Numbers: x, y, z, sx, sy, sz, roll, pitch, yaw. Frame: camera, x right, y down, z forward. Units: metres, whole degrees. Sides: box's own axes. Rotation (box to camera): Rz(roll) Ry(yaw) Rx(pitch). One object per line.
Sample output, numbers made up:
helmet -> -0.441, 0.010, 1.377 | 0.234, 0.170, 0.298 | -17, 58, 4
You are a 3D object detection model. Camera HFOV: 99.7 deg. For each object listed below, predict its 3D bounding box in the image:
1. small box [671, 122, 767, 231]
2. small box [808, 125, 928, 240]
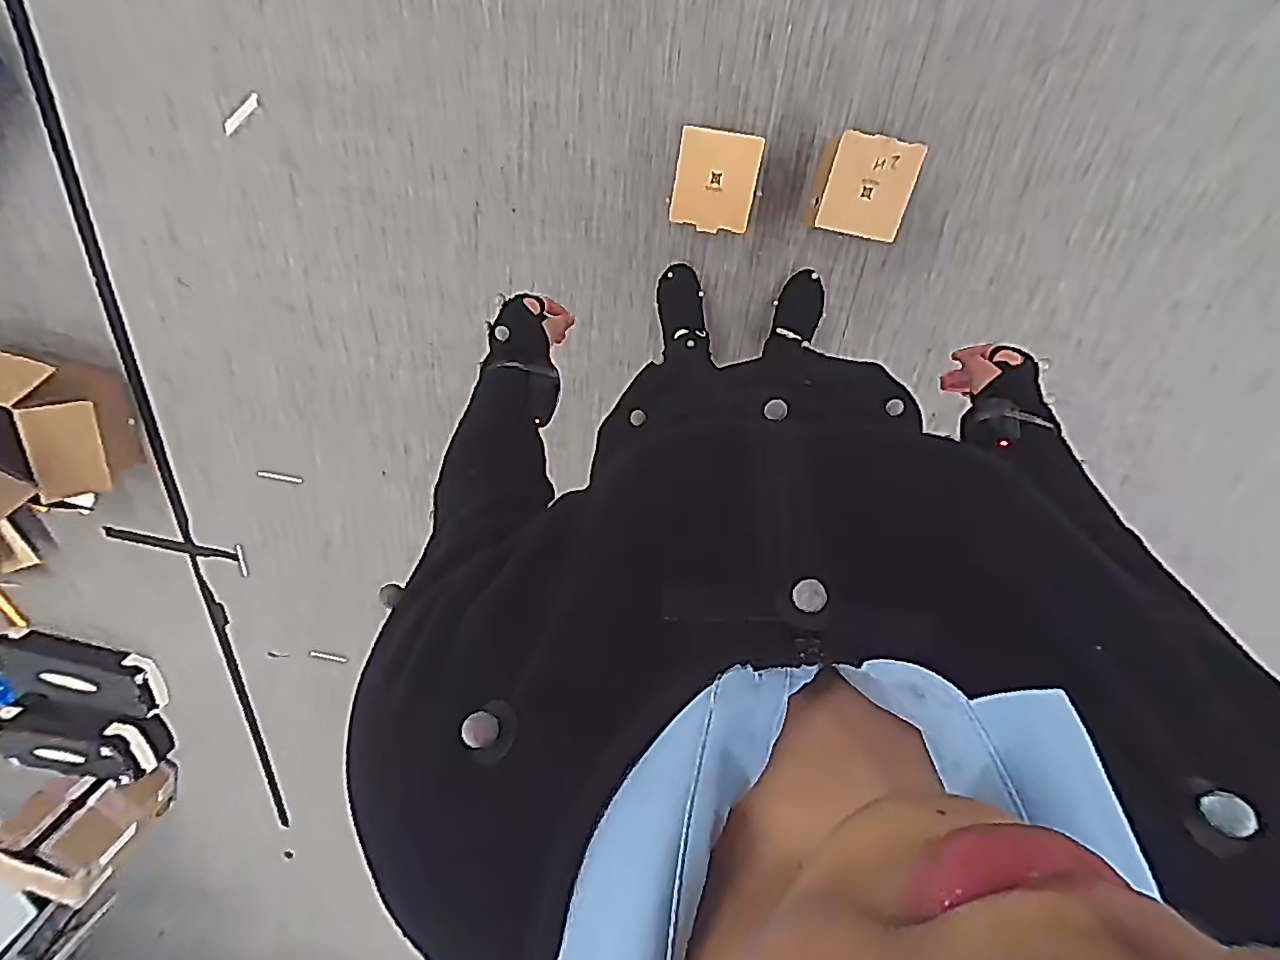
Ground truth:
small box -> 0.165, -0.645, 1.160 | 0.168, 0.176, 0.179 | 11, 119, 3
small box -> 0.461, -0.615, 1.129 | 0.168, 0.176, 0.179 | 13, 118, 1
